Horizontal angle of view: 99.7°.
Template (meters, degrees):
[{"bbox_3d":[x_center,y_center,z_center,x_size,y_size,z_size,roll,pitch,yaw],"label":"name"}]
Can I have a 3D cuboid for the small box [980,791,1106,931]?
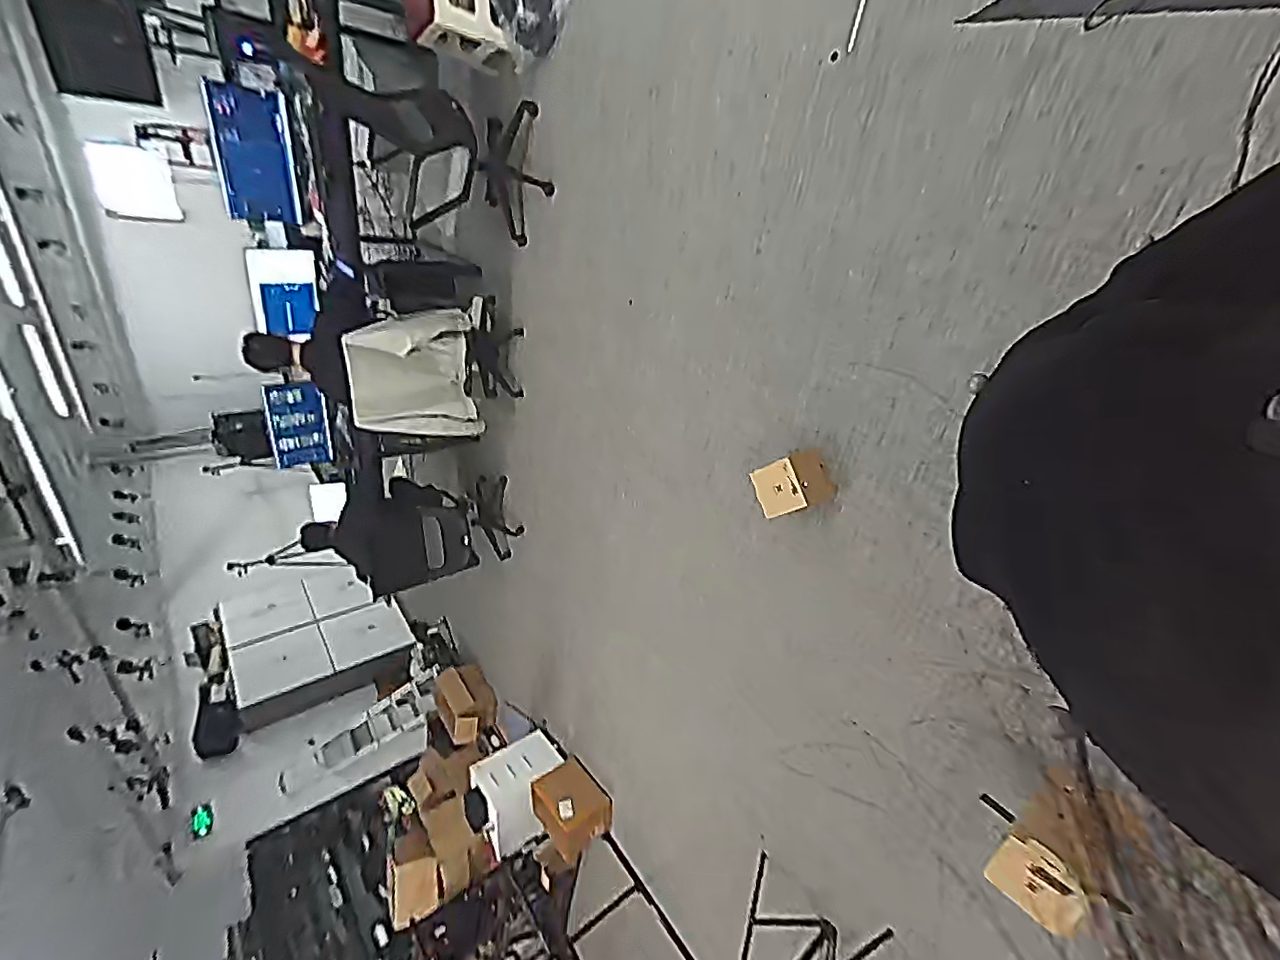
[{"bbox_3d":[0.939,0.875,1.258,0.168,0.176,0.179,34,128,41],"label":"small box"}]

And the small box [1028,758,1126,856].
[{"bbox_3d":[1.070,0.842,1.353,0.168,0.176,0.179,33,128,42],"label":"small box"}]

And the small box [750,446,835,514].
[{"bbox_3d":[0.502,-0.001,1.779,0.179,0.176,0.168,-28,79,53],"label":"small box"}]
